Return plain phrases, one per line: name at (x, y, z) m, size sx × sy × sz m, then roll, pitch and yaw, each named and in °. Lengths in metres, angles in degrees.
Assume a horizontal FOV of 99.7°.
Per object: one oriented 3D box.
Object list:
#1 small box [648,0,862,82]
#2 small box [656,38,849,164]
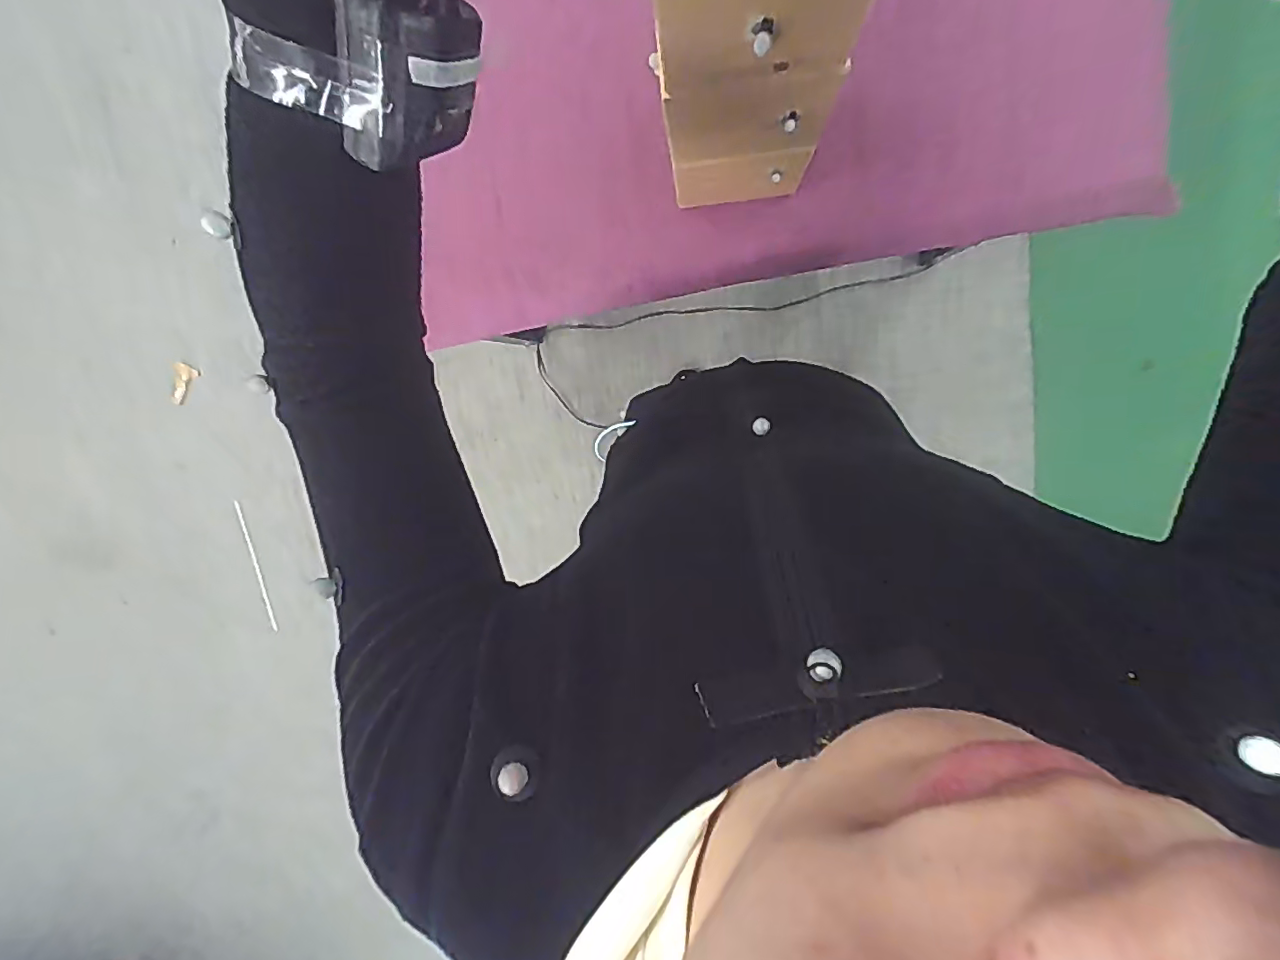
small box at (0.086, -0.438, 0.408) m, size 0.168 × 0.176 × 0.179 m, roll -4°, pitch 100°, yaw 8°
small box at (0.109, -0.459, 0.568) m, size 0.179 × 0.176 × 0.168 m, roll -3°, pitch 99°, yaw 9°
